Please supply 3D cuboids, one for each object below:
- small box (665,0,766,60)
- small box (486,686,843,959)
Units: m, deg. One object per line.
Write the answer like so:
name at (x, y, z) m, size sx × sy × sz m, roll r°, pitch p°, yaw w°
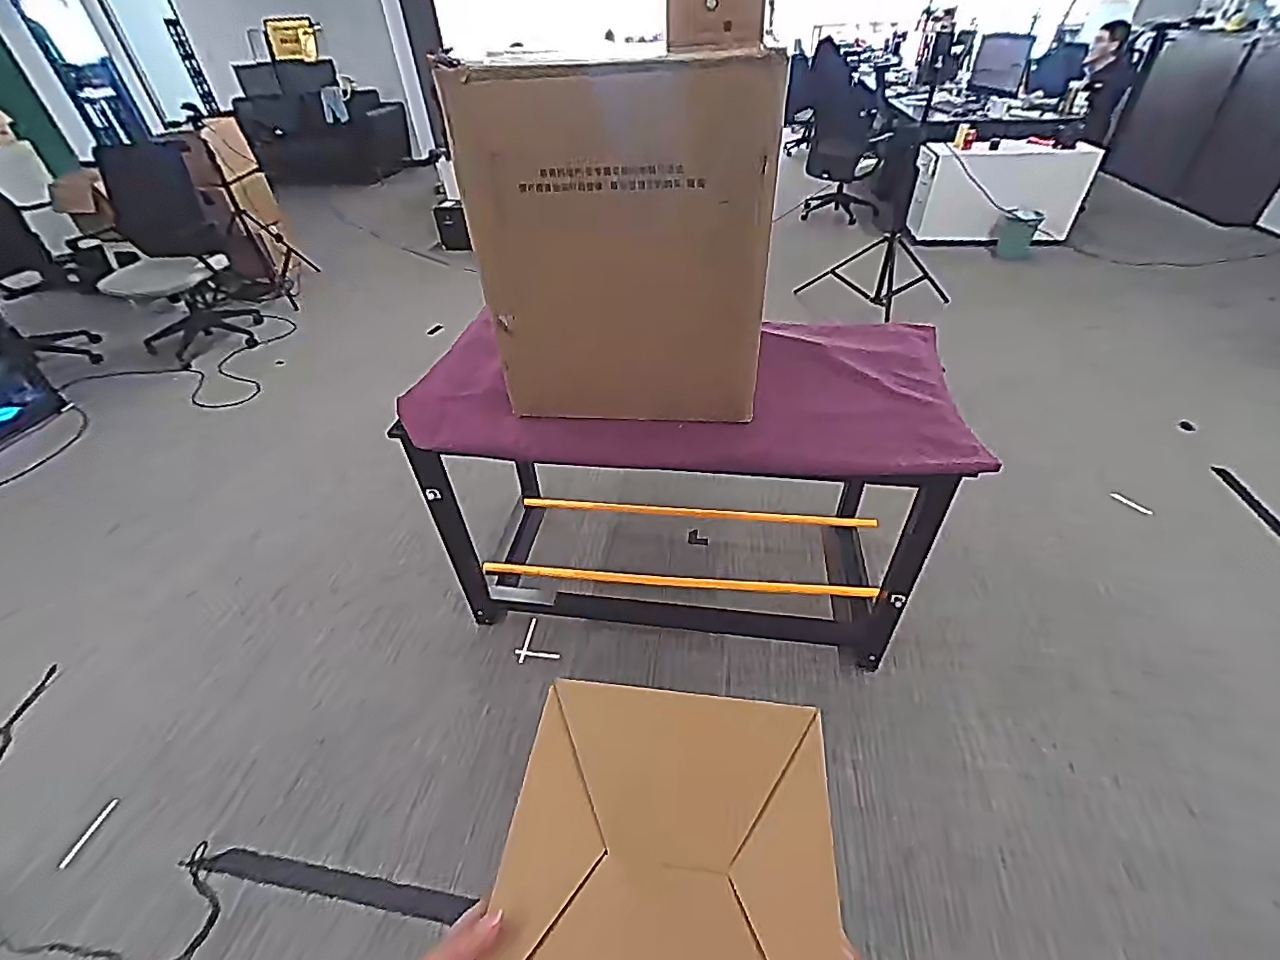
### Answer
small box at (0.133, -0.836, 0.932) m, size 0.168 × 0.176 × 0.179 m, roll 3°, pitch 41°, yaw 9°
small box at (0.019, 0.252, 0.326) m, size 0.168 × 0.176 × 0.179 m, roll 3°, pitch 43°, yaw 8°
